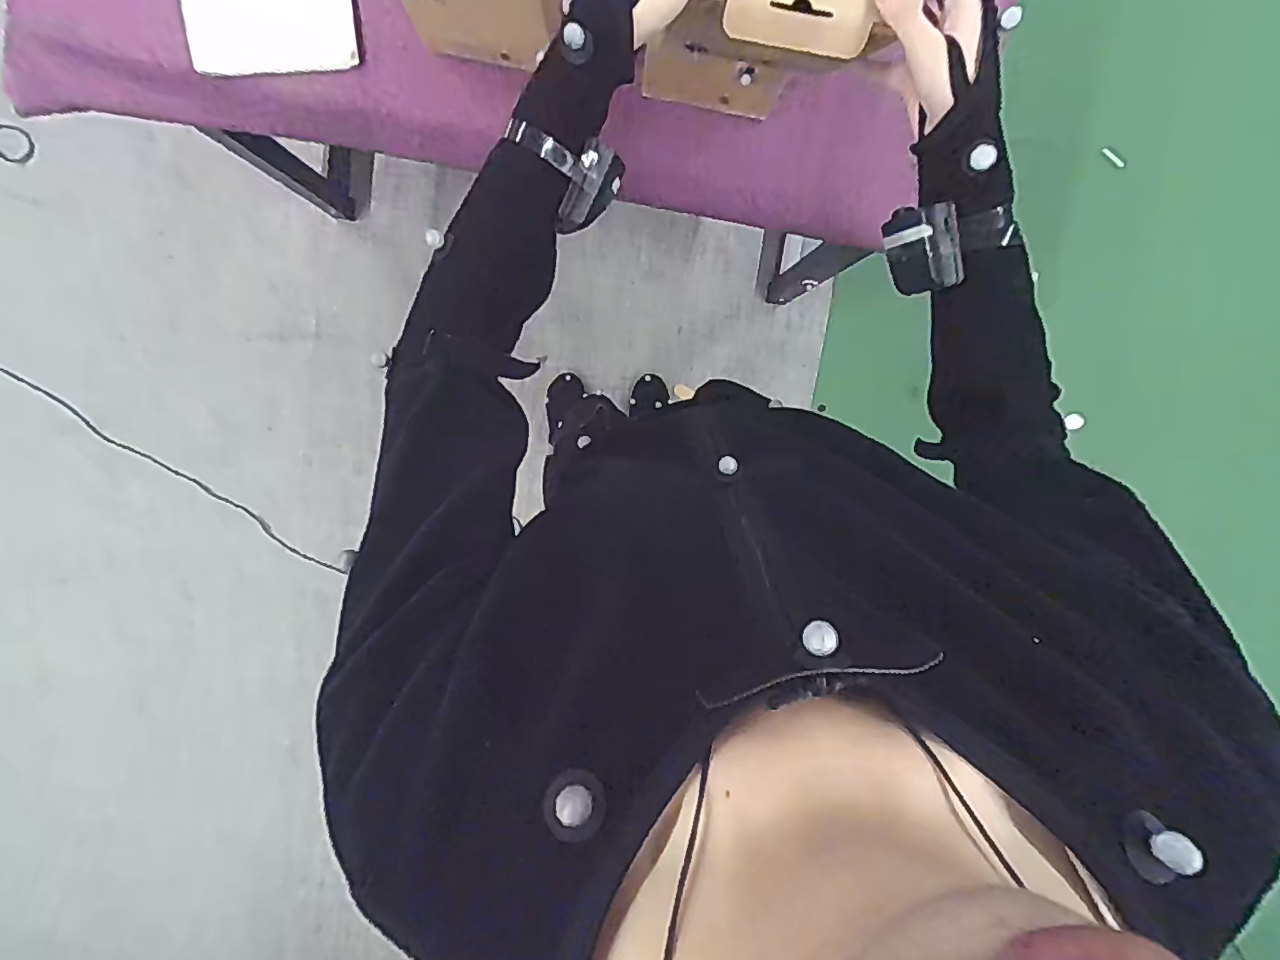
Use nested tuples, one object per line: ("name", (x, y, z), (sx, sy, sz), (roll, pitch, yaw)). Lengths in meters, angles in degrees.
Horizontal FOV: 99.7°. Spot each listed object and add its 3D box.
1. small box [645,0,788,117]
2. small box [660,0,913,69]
("small box", (0.101, -0.554, 0.611), (0.168, 0.176, 0.179), (9, 96, -5))
("small box", (0.111, -0.432, 0.396), (0.168, 0.176, 0.179), (5, 116, -7))
